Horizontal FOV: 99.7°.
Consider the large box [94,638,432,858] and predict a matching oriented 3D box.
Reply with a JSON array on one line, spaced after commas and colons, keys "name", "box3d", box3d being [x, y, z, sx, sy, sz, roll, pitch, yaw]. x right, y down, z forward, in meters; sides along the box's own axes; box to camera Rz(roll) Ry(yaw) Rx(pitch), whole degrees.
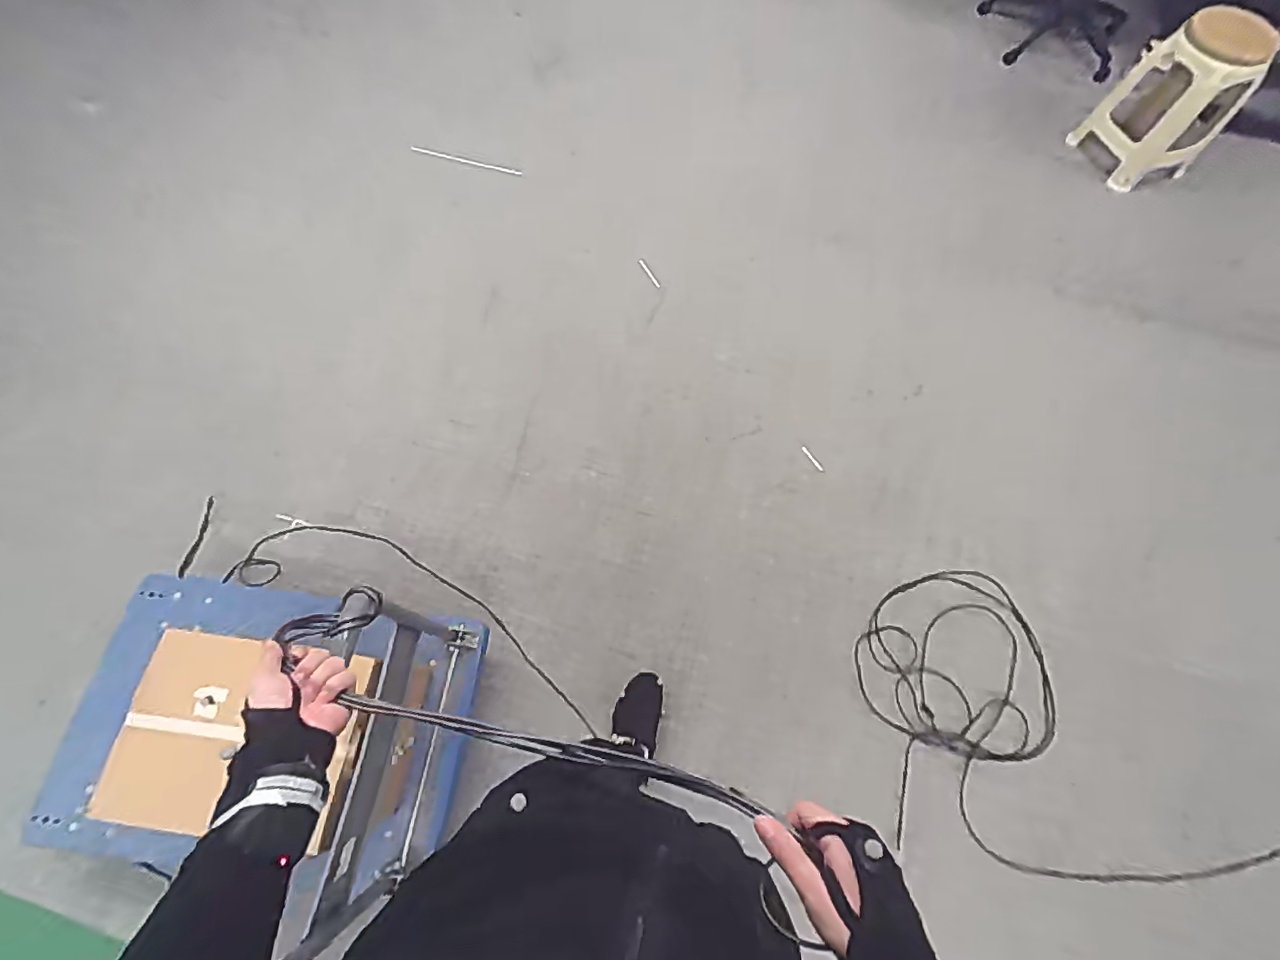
[{"name": "large box", "box3d": [-0.693, 0.510, 1.081, 0.408, 0.320, 0.320, 7, 67, 3]}]
